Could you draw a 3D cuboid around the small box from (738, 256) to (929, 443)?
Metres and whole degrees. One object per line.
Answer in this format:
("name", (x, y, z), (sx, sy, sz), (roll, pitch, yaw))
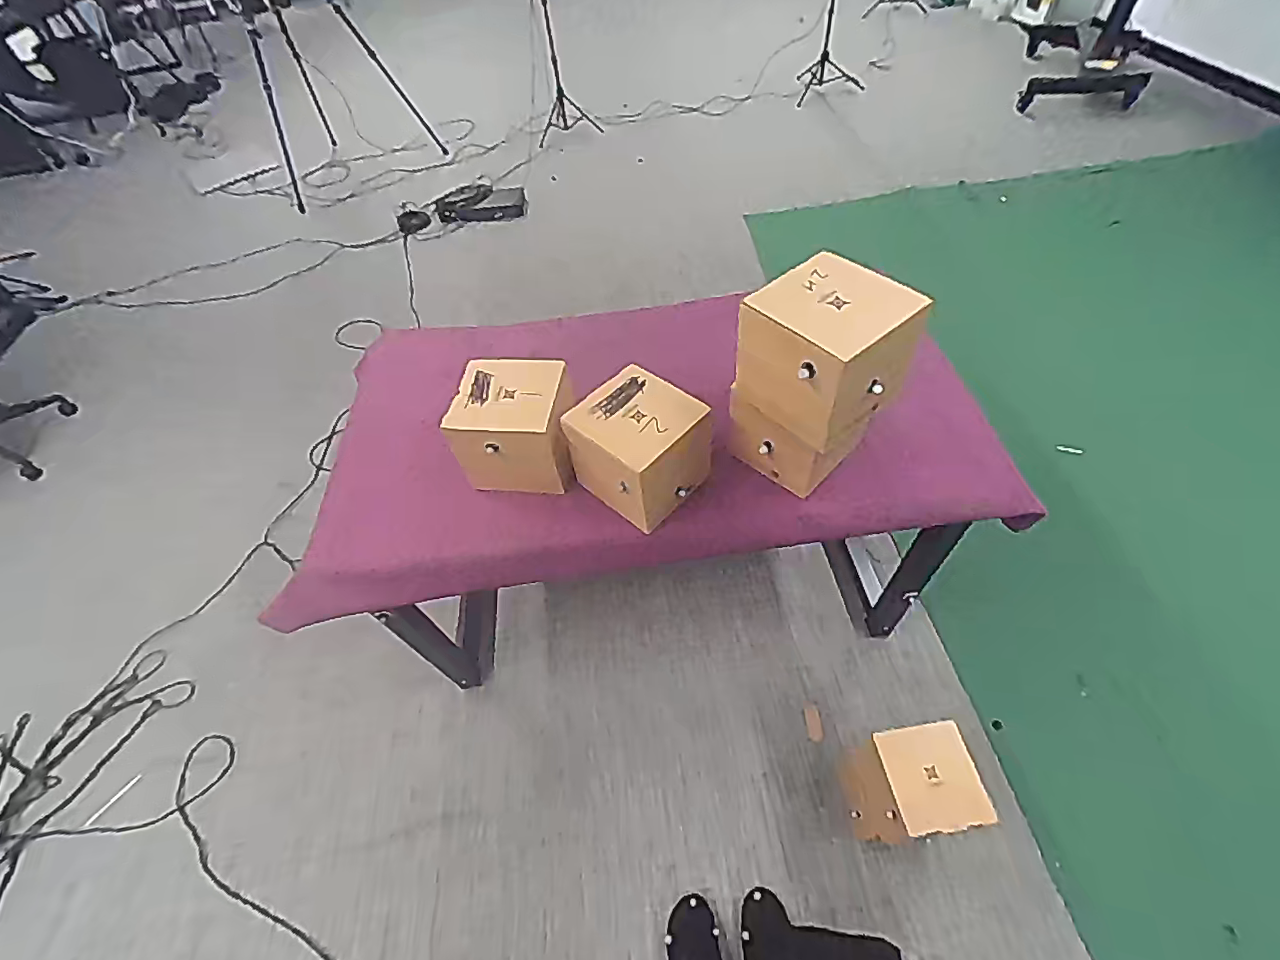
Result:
("small box", (0.255, -0.175, 0.757), (0.168, 0.176, 0.179), (-34, 55, -19))

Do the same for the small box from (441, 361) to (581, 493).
("small box", (-0.215, -0.090, 0.953), (0.179, 0.176, 0.168), (3, 54, 7))

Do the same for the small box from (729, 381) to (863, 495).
("small box", (0.267, -0.107, 0.913), (0.168, 0.176, 0.179), (37, 65, 29))

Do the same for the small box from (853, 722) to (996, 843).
("small box", (0.543, 0.598, 1.065), (0.168, 0.176, 0.179), (-9, 54, -1))

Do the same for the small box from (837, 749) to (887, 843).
("small box", (0.551, 0.693, 1.195), (0.179, 0.176, 0.168), (-7, 53, 0))
